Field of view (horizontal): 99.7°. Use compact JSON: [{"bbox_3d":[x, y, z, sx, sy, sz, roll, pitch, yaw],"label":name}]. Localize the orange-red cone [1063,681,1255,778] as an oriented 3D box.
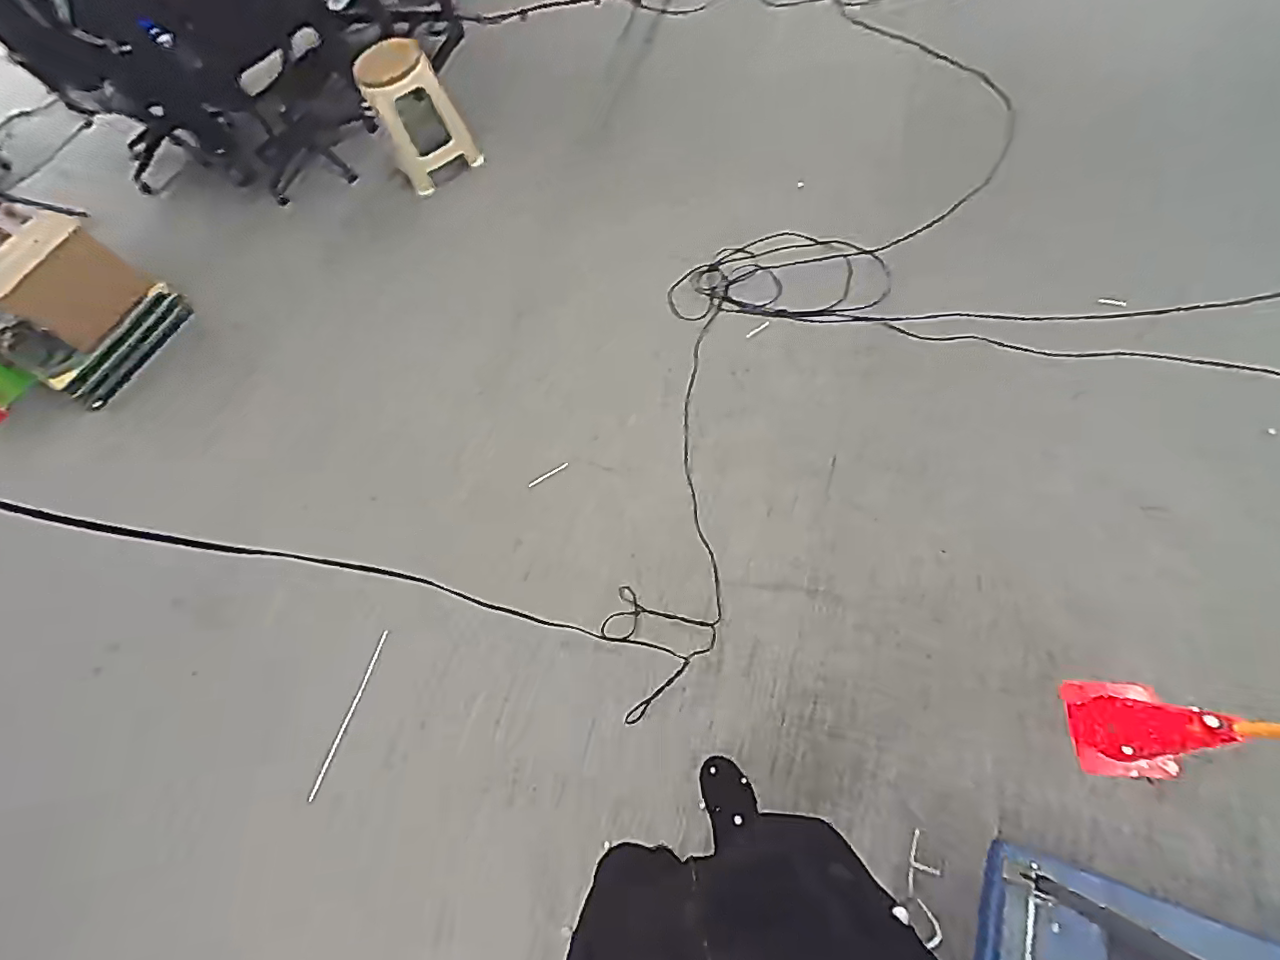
[{"bbox_3d":[1.079,0.500,1.100,0.198,0.360,0.199,-1,65,10],"label":"orange-red cone"}]
